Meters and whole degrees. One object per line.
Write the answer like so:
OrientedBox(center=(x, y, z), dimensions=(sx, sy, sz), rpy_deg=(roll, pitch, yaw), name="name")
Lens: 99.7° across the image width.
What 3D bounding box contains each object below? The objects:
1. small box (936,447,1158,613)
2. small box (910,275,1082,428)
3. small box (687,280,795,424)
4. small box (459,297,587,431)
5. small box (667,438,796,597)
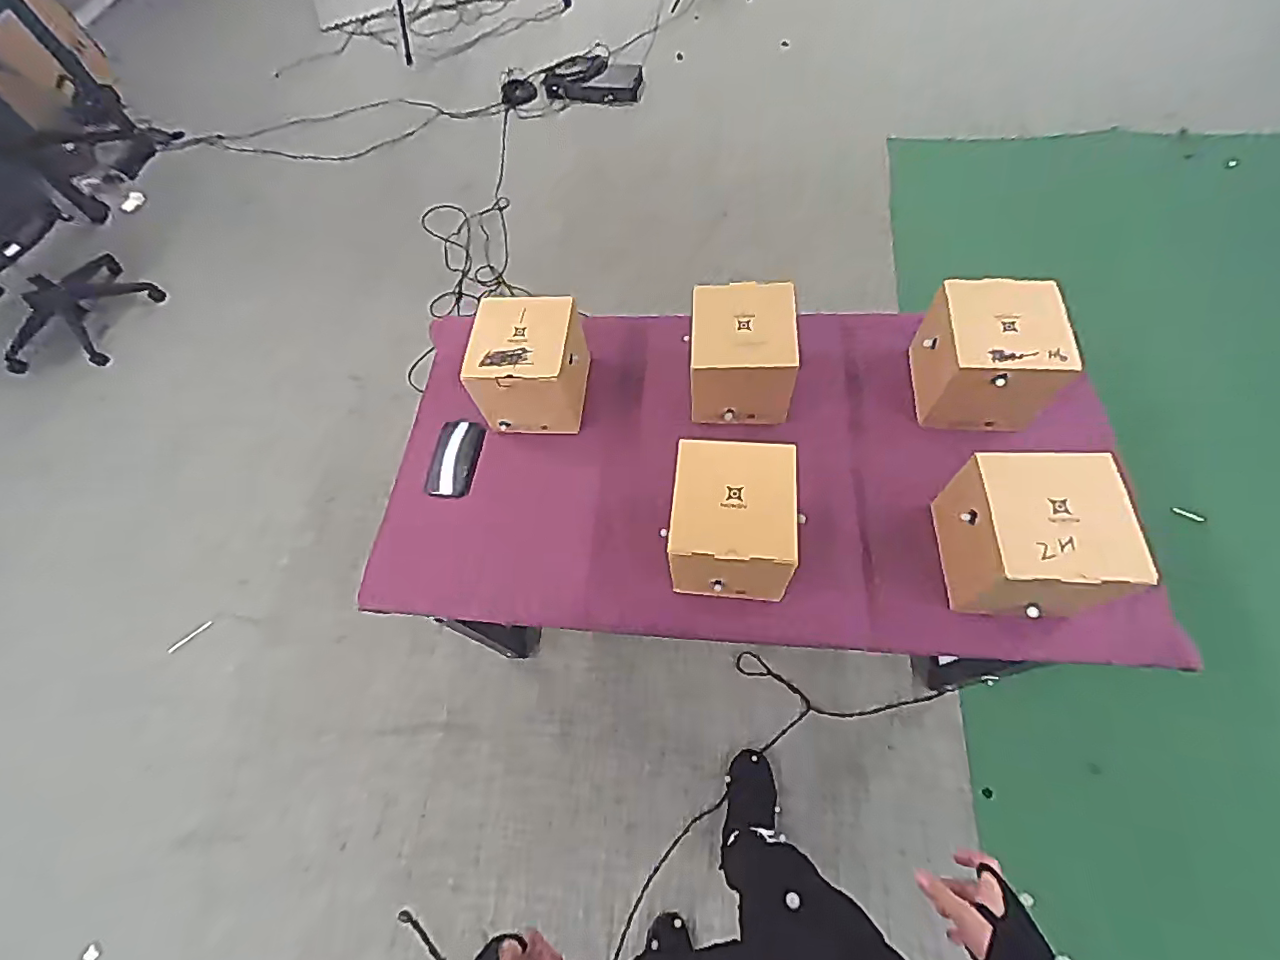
OrientedBox(center=(0.524, 0.070, 0.733), dimensions=(0.168, 0.176, 0.179), rpy_deg=(0, 64, 9), name="small box")
OrientedBox(center=(0.553, -0.205, 0.872), dimensions=(0.168, 0.176, 0.179), rpy_deg=(2, 64, 9), name="small box")
OrientedBox(center=(0.168, -0.215, 0.927), dimensions=(0.168, 0.176, 0.179), rpy_deg=(1, 64, 8), name="small box")
OrientedBox(center=(-0.195, -0.199, 0.962), dimensions=(0.168, 0.176, 0.179), rpy_deg=(1, 63, 7), name="small box")
OrientedBox(center=(0.132, 0.059, 0.793), dimensions=(0.168, 0.176, 0.179), rpy_deg=(3, 63, 8), name="small box")
